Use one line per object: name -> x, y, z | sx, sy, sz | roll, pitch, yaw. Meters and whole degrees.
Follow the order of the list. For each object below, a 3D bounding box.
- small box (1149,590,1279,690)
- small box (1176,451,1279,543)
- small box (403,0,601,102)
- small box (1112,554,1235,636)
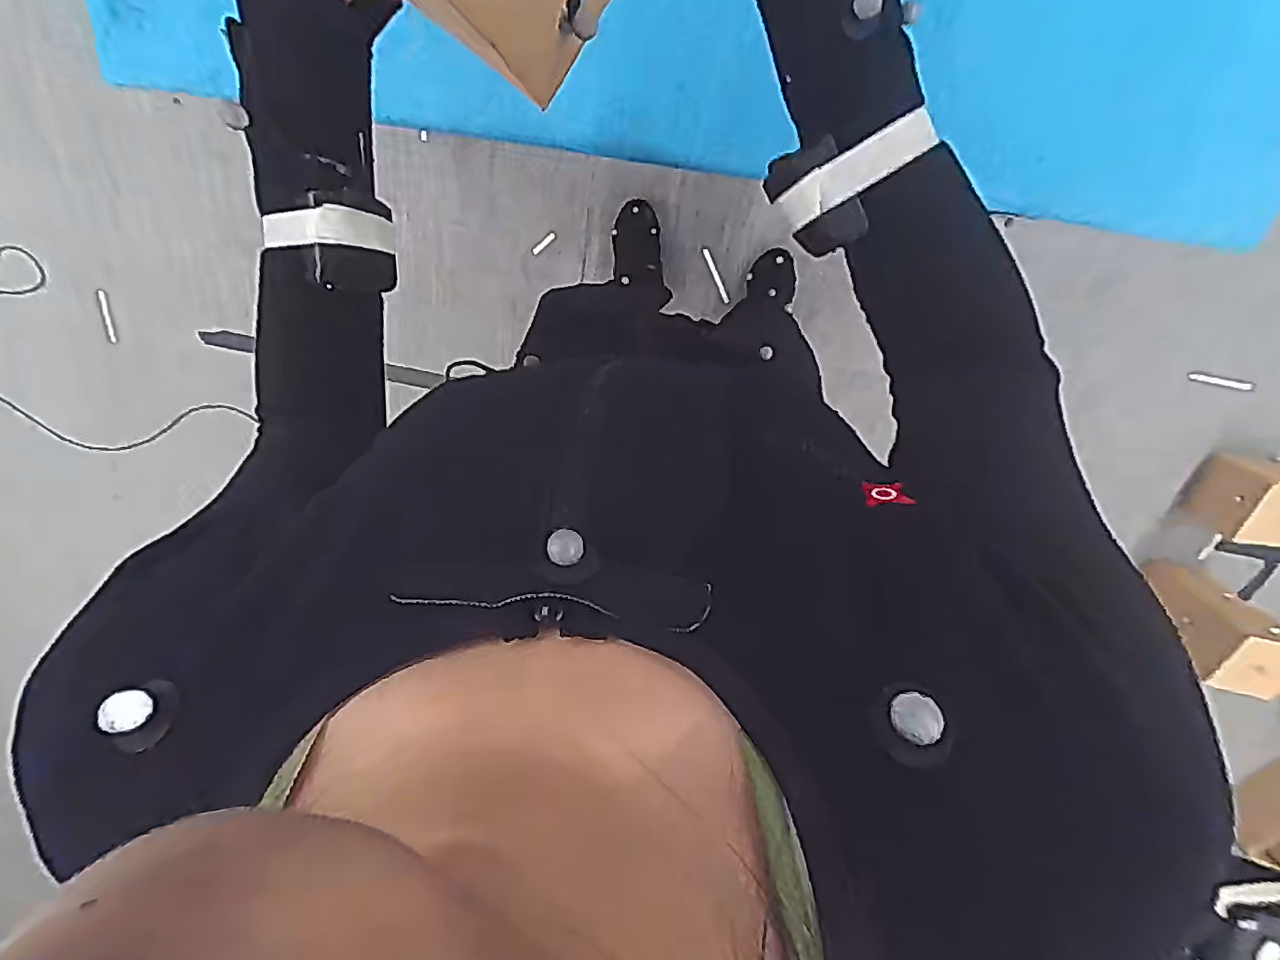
small box -> 1.509, 0.410, 1.405 | 0.179, 0.176, 0.168 | 14, 117, -2
small box -> 1.558, 0.039, 1.389 | 0.168, 0.176, 0.179 | 7, 119, 2
small box -> -0.089, -0.330, 0.243 | 0.168, 0.176, 0.179 | 35, 111, -6
small box -> 1.524, 0.343, 1.553 | 0.168, 0.176, 0.179 | 14, 119, -3
